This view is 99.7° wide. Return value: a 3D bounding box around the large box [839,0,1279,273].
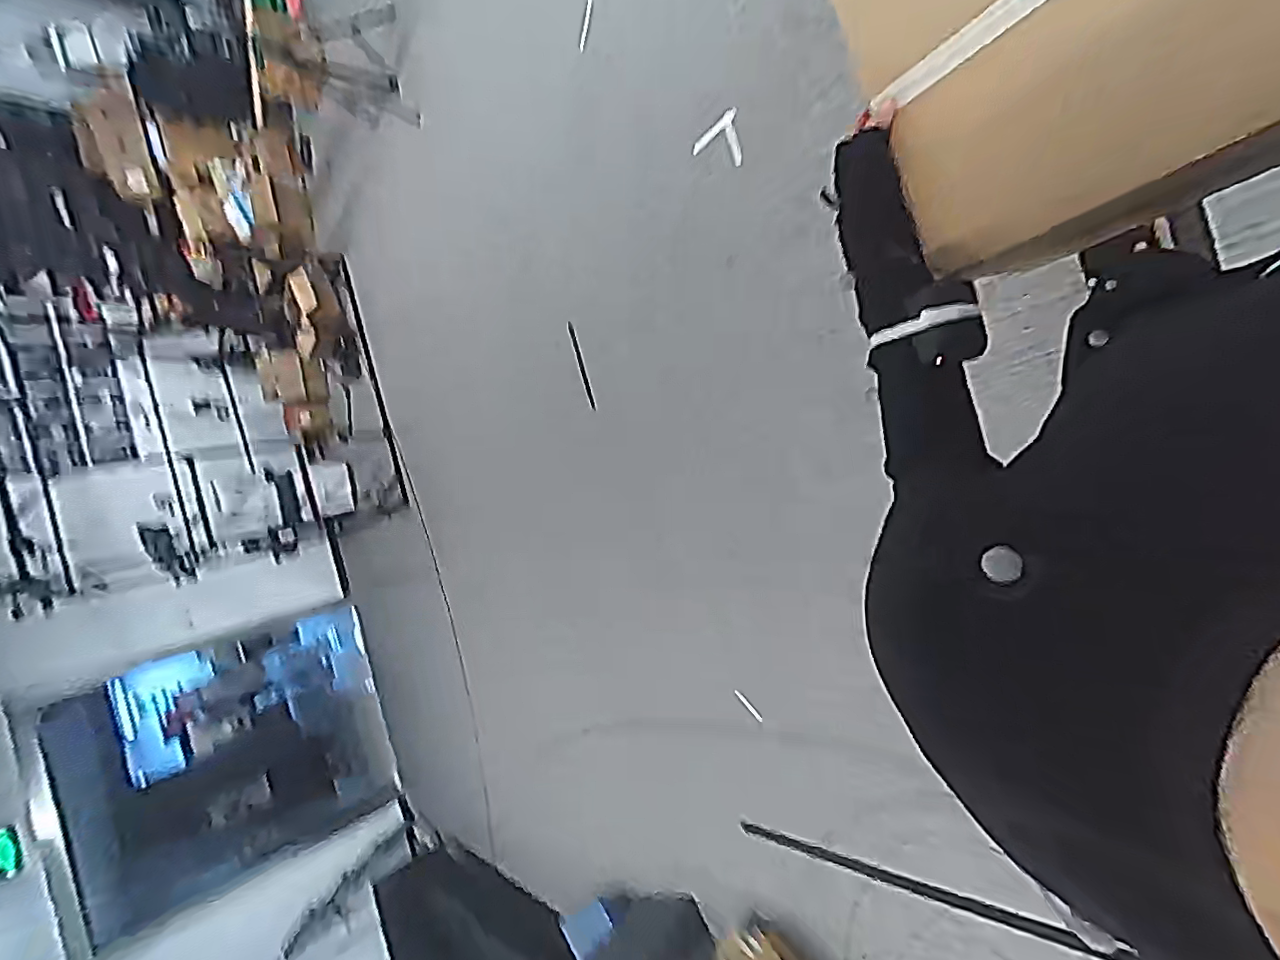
[{"bbox_3d":[0.439,-0.405,0.427,0.408,0.320,0.320,-19,92,48],"label":"large box"}]
